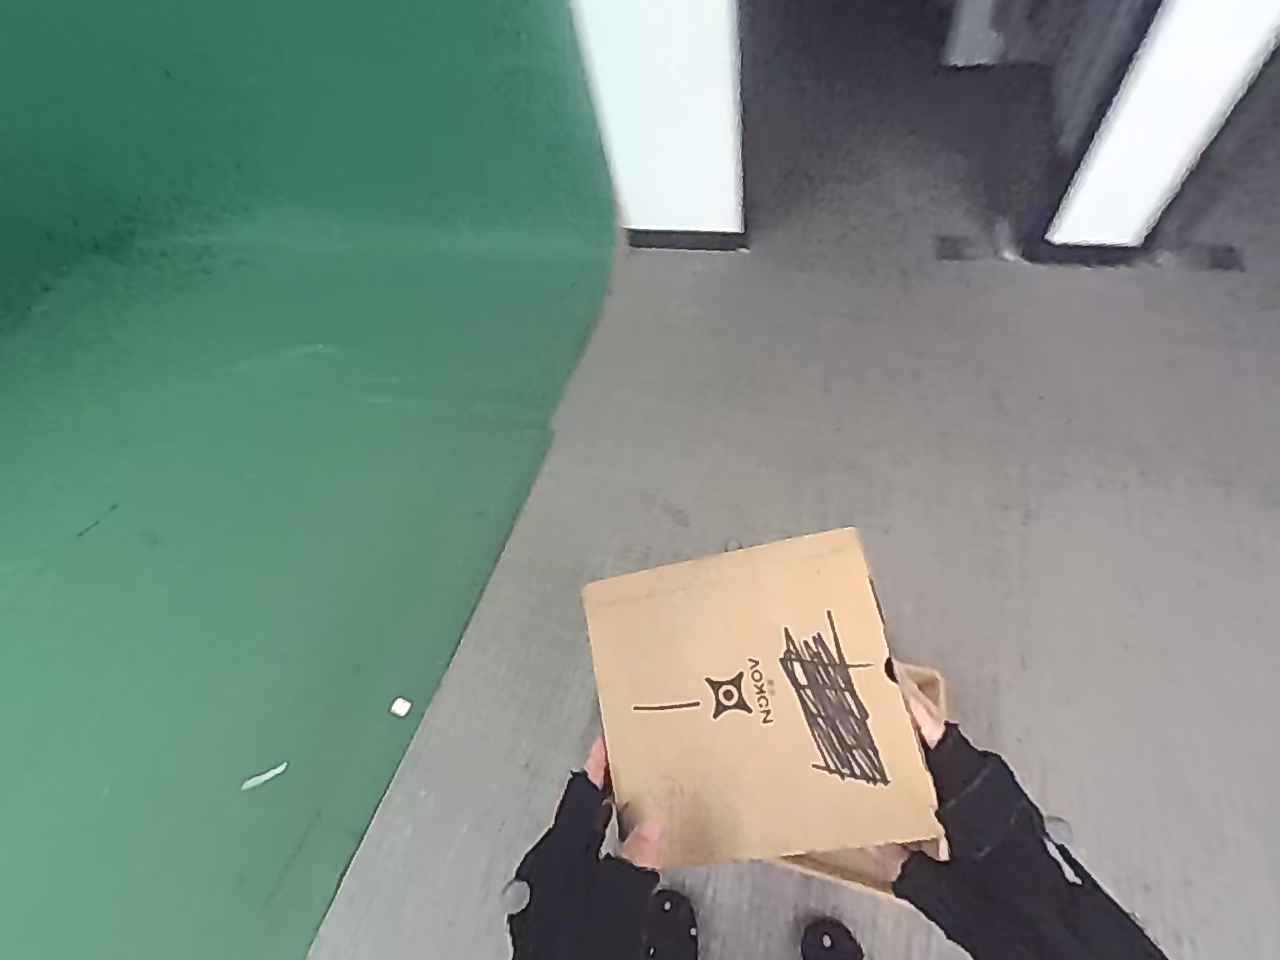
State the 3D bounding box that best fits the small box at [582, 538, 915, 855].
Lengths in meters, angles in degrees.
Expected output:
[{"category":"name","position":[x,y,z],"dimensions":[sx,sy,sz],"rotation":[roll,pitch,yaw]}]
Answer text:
[{"category":"small box","position":[0.074,0.150,0.408],"dimensions":[0.179,0.176,0.168],"rotation":[-14,72,11]}]
